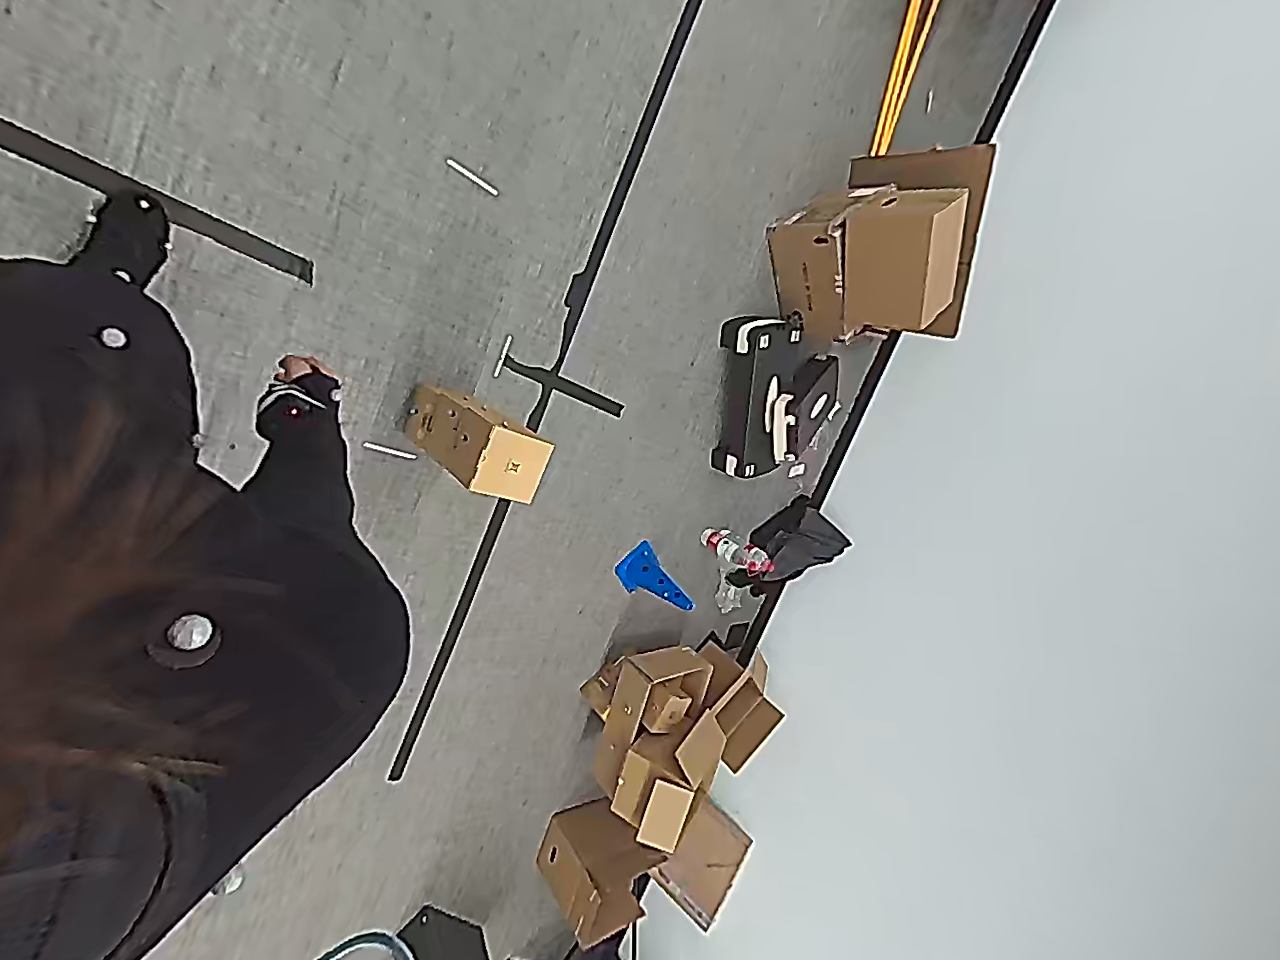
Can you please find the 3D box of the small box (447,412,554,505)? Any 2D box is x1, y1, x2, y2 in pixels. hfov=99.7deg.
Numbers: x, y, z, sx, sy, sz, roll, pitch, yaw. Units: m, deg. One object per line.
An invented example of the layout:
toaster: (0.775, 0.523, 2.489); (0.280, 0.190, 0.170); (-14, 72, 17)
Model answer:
small box: (-0.353, -0.056, 1.356); (0.179, 0.176, 0.168); (17, 99, -43)

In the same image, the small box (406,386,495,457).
small box: (-0.559, -0.165, 1.587); (0.179, 0.176, 0.168); (13, 101, -42)
